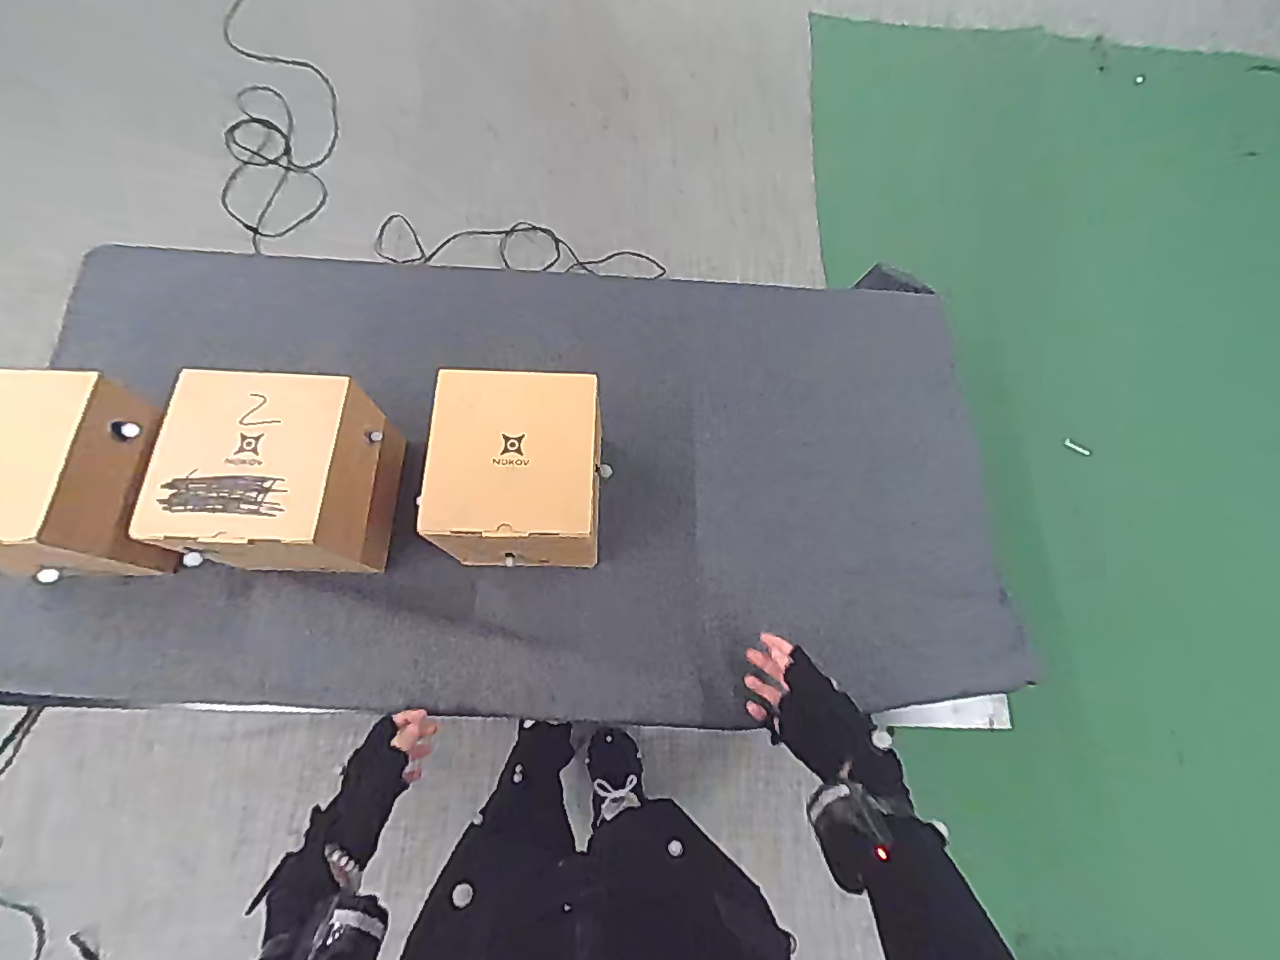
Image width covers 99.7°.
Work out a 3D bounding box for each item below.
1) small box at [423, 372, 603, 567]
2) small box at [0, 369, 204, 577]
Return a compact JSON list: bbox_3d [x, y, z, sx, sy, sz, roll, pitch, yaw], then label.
[{"bbox_3d":[-0.129,-0.003,0.614,0.168,0.176,0.179,1,72,-4],"label":"small box"},{"bbox_3d":[-0.615,0.000,0.573,0.168,0.176,0.179,1,70,-4],"label":"small box"}]
